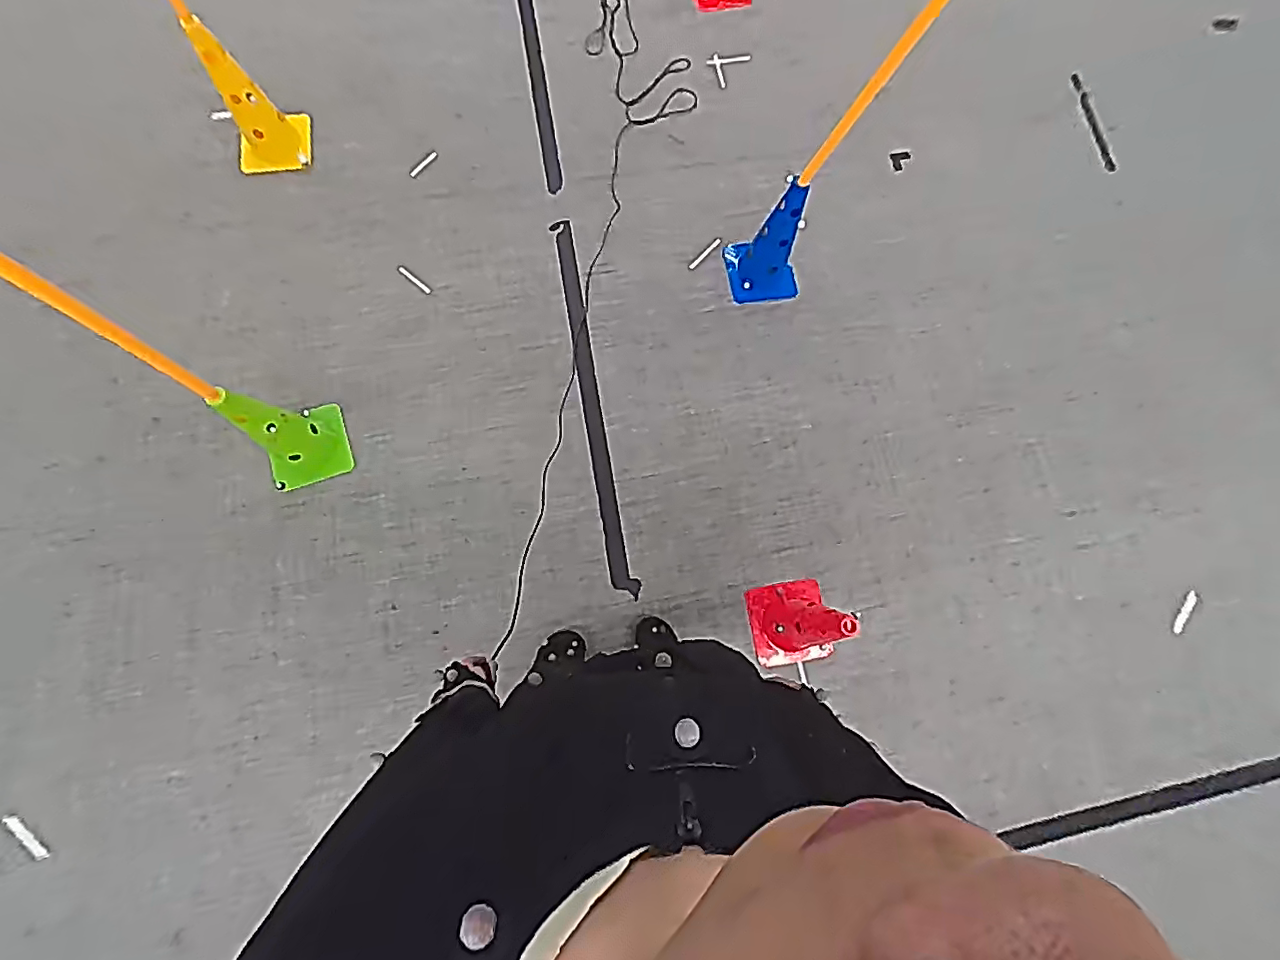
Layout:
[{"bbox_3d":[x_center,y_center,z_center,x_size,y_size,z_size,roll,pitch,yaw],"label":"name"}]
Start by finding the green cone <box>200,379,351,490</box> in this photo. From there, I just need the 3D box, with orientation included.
[{"bbox_3d":[-0.864,-0.134,1.253,0.200,0.368,0.202,-20,77,-8],"label":"green cone"}]

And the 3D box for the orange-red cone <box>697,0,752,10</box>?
[{"bbox_3d":[0.283,-1.759,1.713,0.199,0.360,0.198,-15,77,-6],"label":"orange-red cone"}]

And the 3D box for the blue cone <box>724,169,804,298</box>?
[{"bbox_3d":[0.369,-0.677,1.473,0.193,0.380,0.192,-7,76,-5],"label":"blue cone"}]
